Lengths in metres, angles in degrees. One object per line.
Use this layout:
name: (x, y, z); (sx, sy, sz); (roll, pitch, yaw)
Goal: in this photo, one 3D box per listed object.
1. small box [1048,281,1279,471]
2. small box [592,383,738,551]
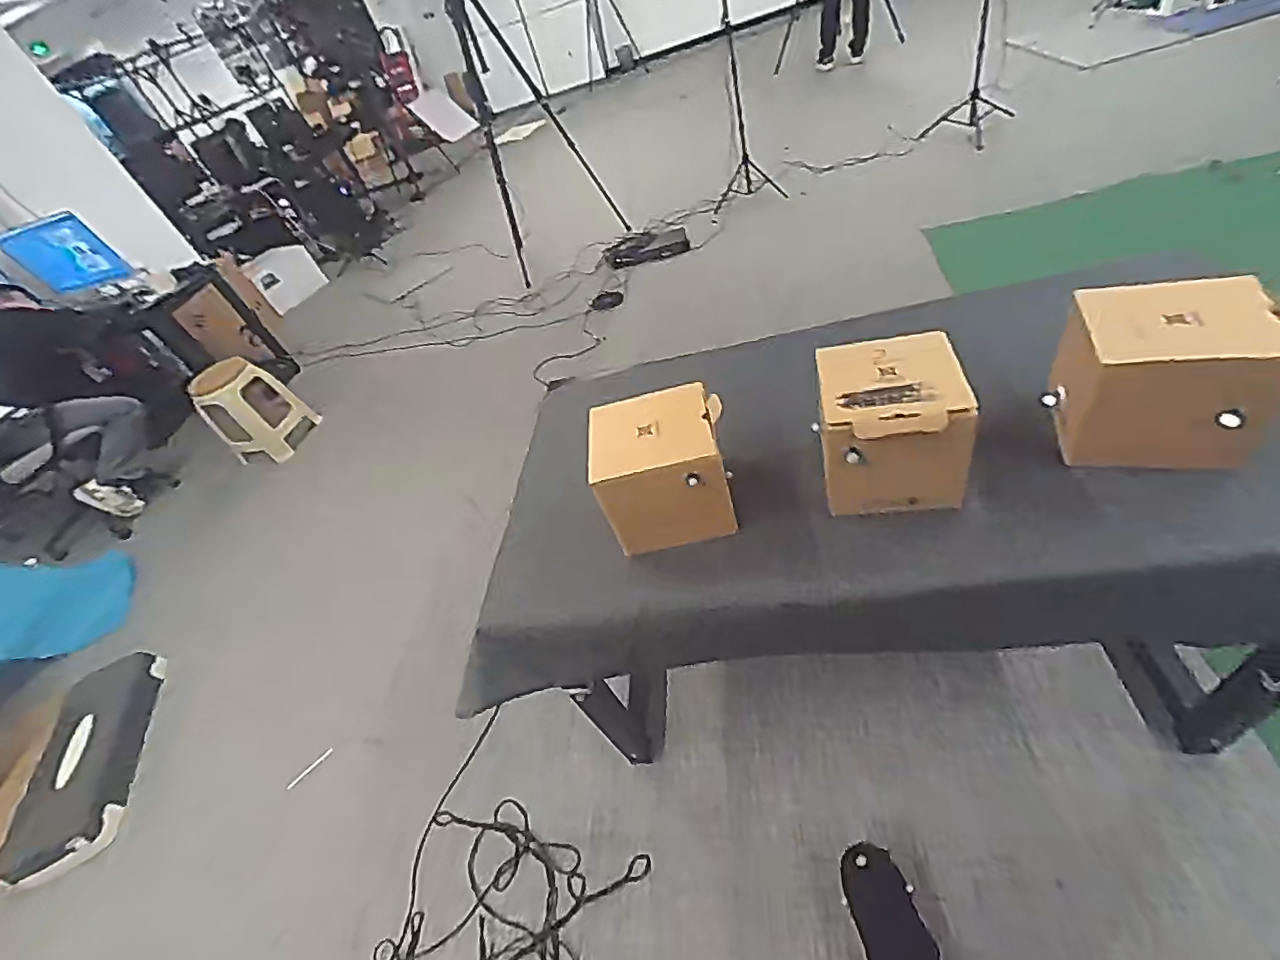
small box: (0.649, -0.124, 0.680); (0.179, 0.176, 0.168); (2, 47, 24)
small box: (0.038, -0.014, 0.810); (0.179, 0.176, 0.168); (-13, 44, 8)
